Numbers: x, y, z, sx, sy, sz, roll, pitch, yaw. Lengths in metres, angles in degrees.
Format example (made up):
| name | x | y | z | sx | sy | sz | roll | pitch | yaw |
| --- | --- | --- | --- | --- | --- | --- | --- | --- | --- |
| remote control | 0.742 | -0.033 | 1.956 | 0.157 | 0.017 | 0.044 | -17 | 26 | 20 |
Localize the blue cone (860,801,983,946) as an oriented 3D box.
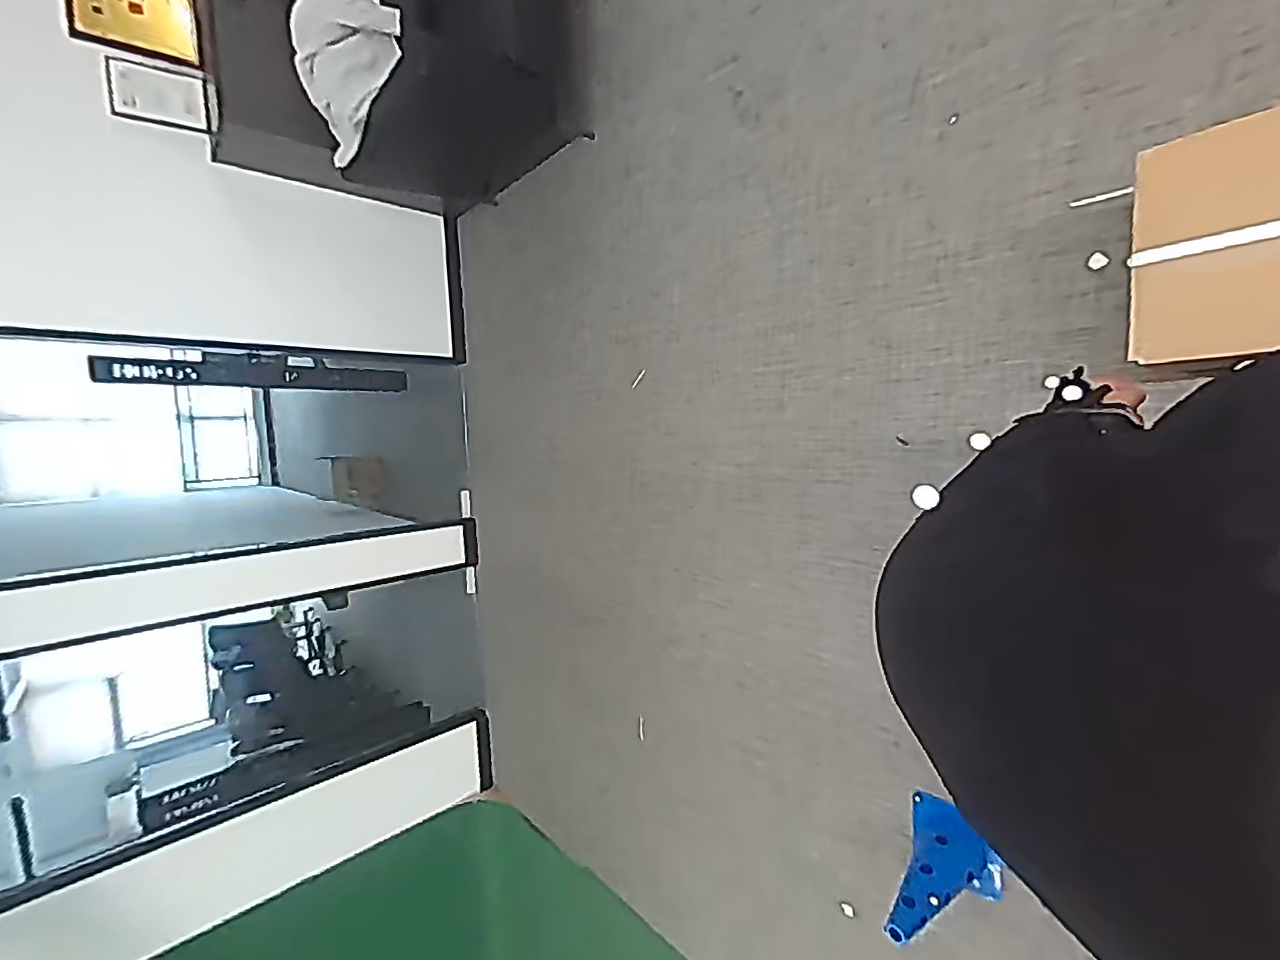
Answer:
| name | x | y | z | sx | sy | sz | roll | pitch | yaw |
| --- | --- | --- | --- | --- | --- | --- | --- | --- | --- |
| blue cone | 0.614 | 0.925 | 1.223 | 0.192 | 0.380 | 0.193 | 5 | 97 | 48 |
